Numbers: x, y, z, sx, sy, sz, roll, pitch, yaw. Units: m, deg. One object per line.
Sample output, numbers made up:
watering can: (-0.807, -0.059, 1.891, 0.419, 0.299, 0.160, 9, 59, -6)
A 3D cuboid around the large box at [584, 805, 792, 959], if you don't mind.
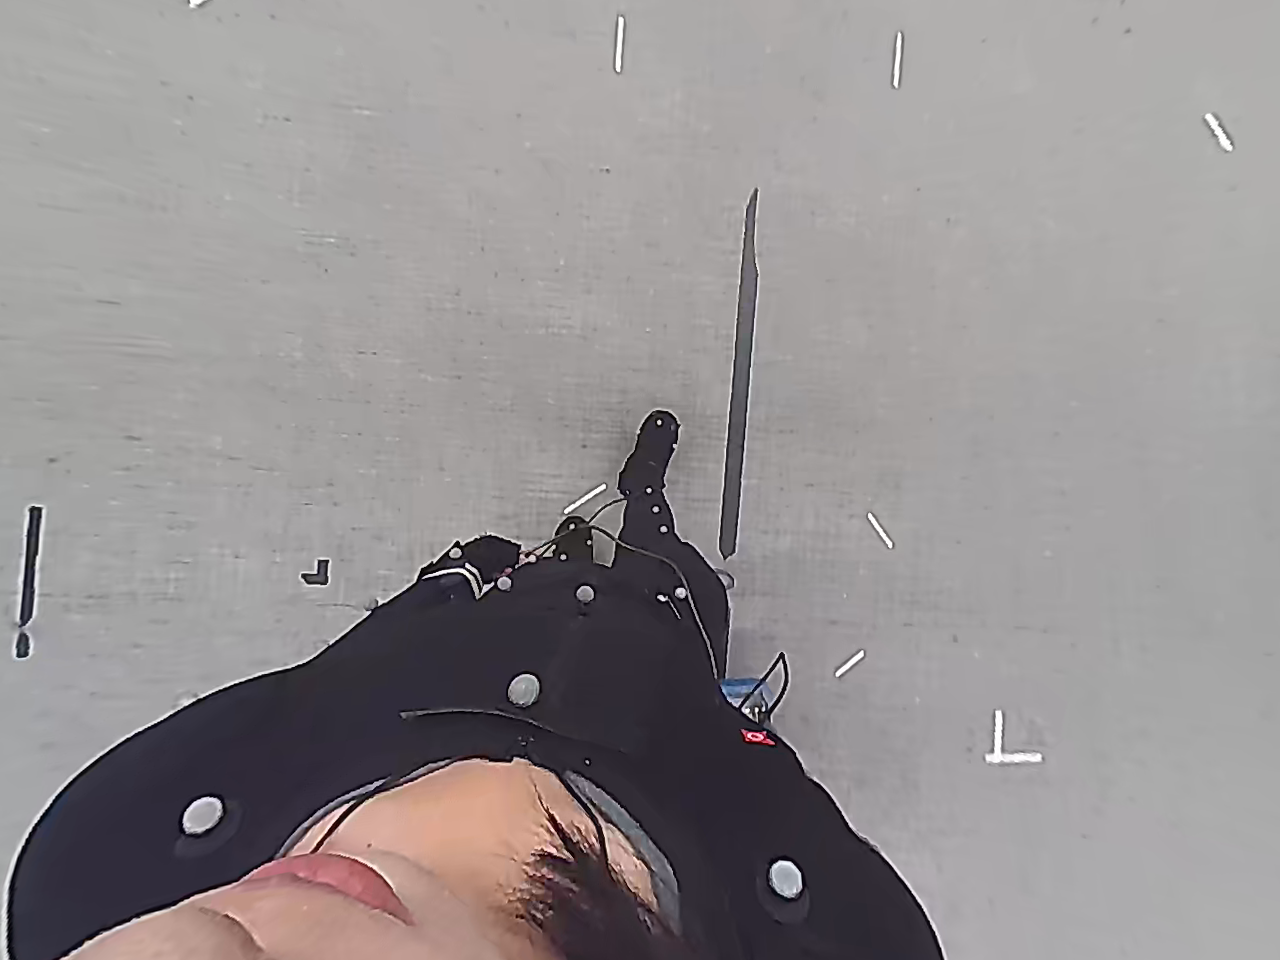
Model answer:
large box: (0.104, 0.999, 1.208, 0.408, 0.320, 0.320, -10, 90, -3)
